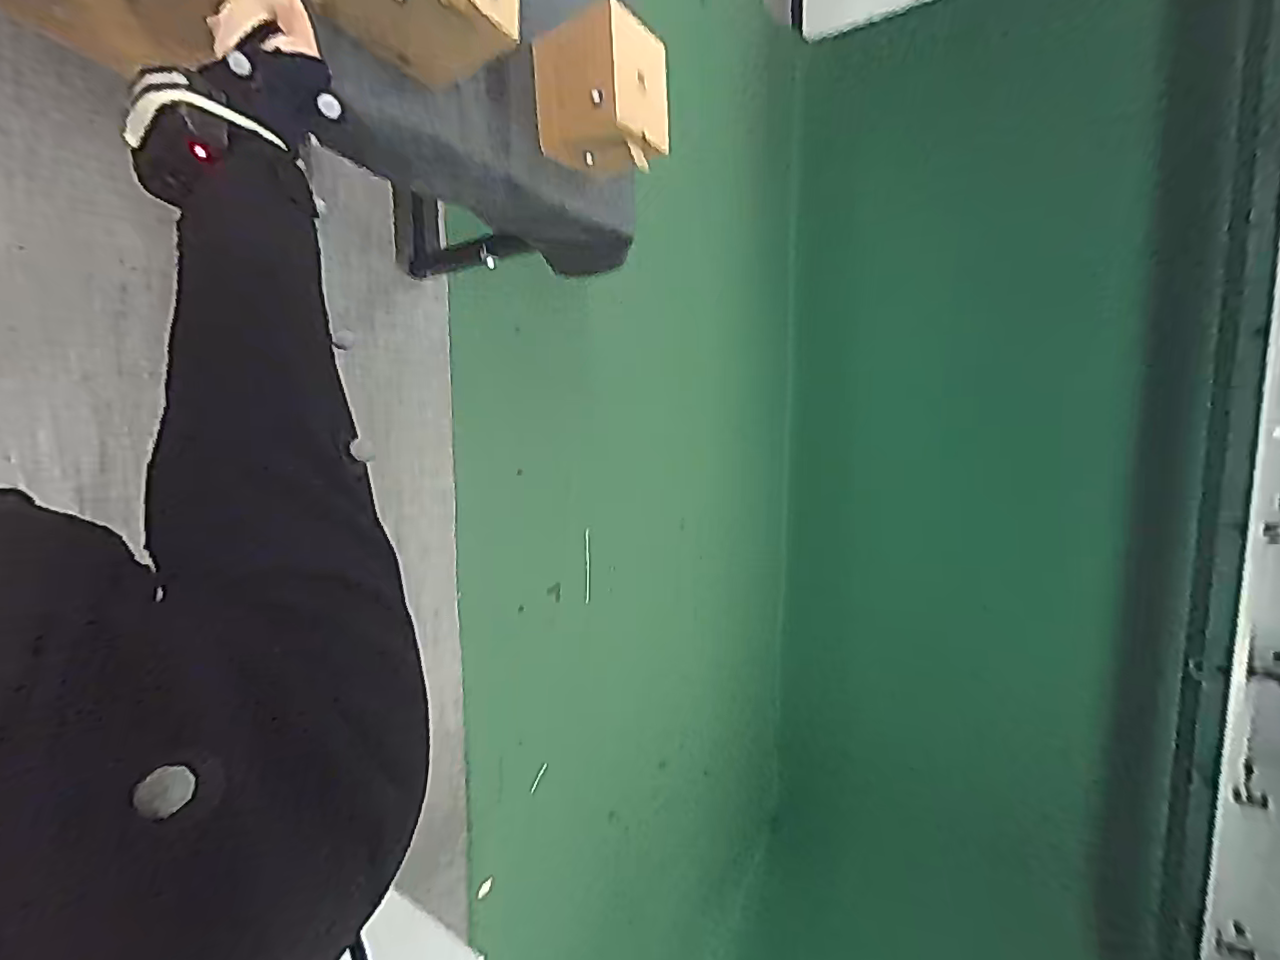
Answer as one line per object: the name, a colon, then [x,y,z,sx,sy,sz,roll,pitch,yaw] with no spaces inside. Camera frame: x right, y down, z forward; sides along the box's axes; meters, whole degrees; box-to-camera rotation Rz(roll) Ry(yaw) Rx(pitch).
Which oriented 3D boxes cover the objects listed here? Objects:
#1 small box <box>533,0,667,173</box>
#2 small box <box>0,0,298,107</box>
small box: [-0.069,-0.668,0.940,0.168,0.176,0.179,-18,108,-55]
small box: [-0.387,-0.426,0.401,0.179,0.176,0.168,8,82,-61]
